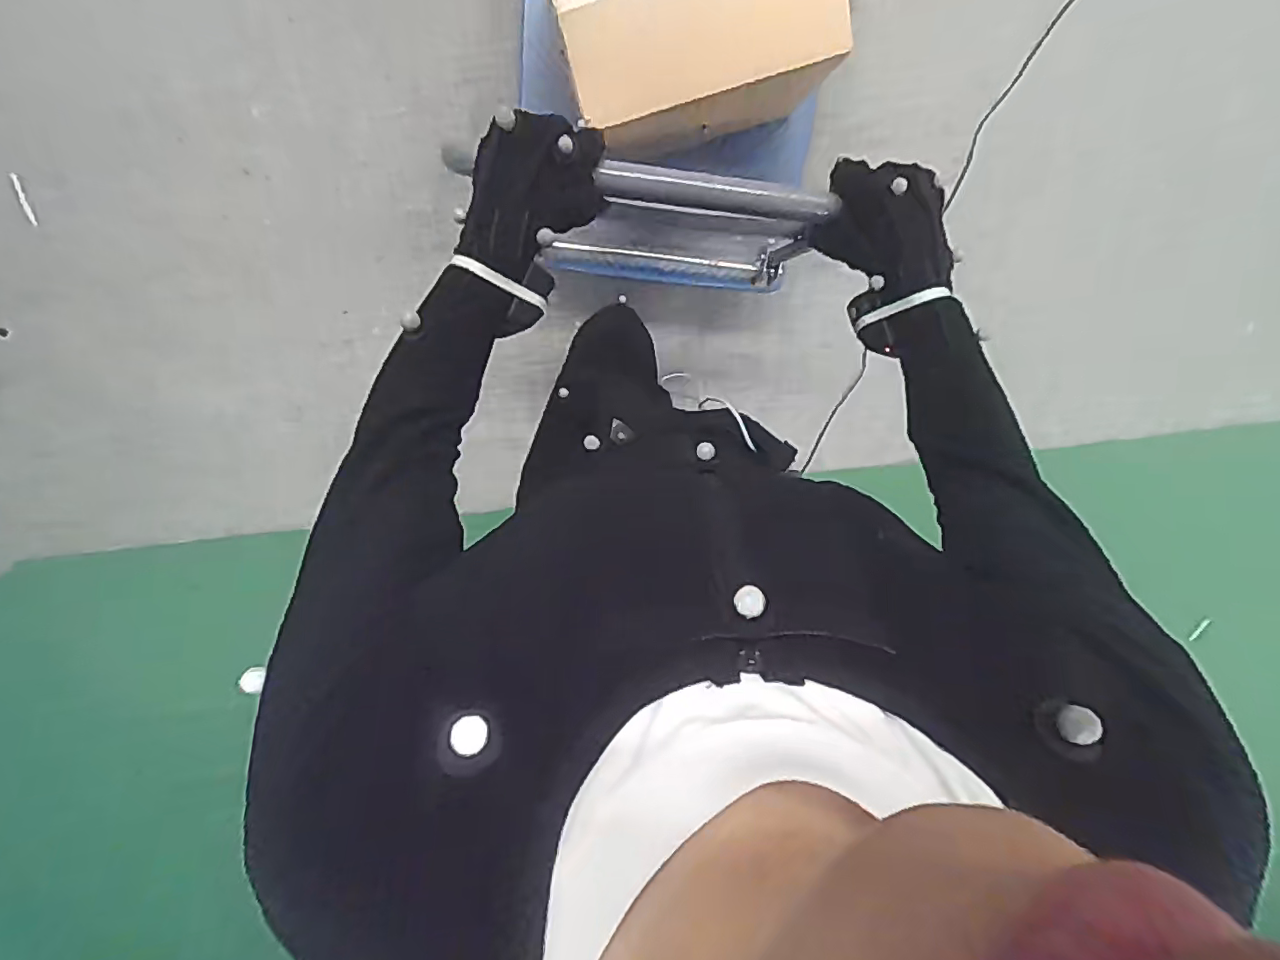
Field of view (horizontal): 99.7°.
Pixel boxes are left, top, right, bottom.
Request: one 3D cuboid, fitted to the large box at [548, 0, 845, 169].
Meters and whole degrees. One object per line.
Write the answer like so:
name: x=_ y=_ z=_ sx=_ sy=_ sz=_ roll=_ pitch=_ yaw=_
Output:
large box: x=0.067 y=-0.764 z=0.894 sx=0.408 sy=0.320 sz=0.320 roll=-15 pitch=109 yaw=5
